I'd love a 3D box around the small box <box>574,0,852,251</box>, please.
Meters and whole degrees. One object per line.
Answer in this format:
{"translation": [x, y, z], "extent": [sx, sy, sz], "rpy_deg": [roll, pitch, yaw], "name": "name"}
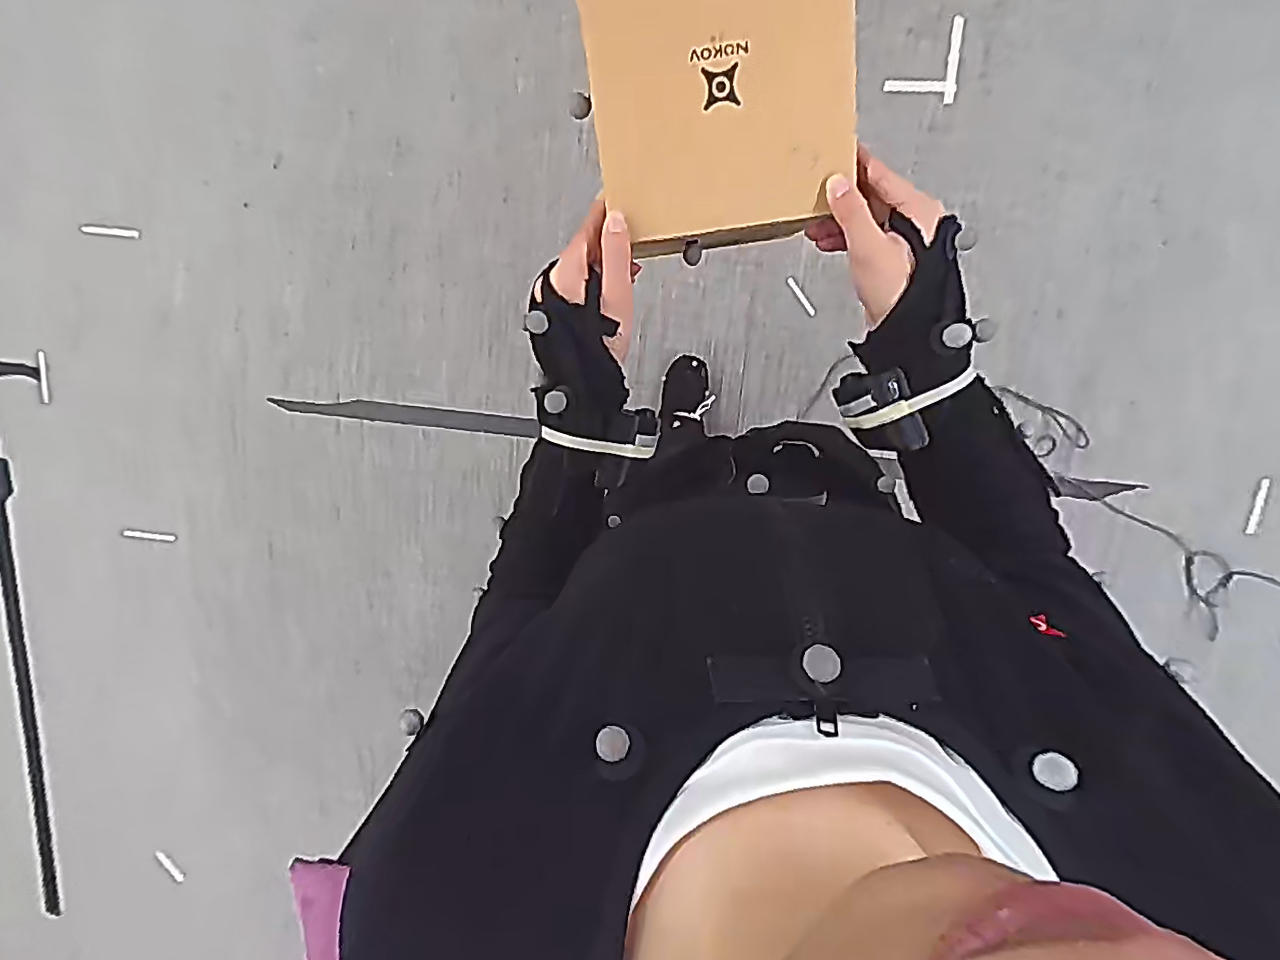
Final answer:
{"translation": [0.050, -0.278, 0.408], "extent": [0.168, 0.176, 0.179], "rpy_deg": [-7, 107, 4], "name": "small box"}
